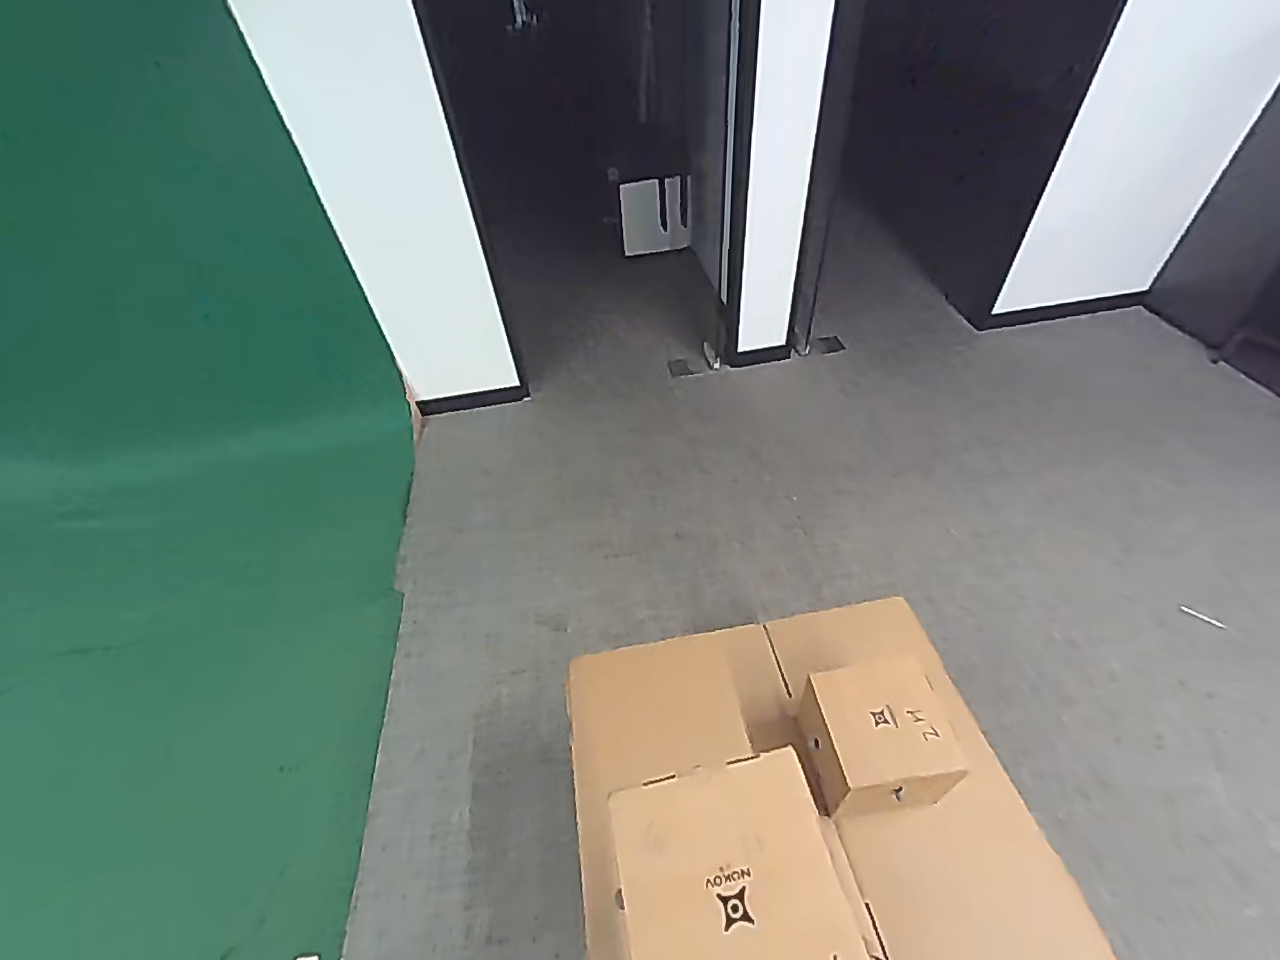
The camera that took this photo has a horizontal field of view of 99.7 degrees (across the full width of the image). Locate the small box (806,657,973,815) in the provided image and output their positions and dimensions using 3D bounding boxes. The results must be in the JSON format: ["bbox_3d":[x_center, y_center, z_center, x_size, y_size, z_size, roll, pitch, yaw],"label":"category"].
[{"bbox_3d":[0.368,0.401,0.841,0.179,0.176,0.168,-9,46,0],"label":"small box"}]

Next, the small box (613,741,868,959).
[{"bbox_3d":[0.077,0.359,0.476,0.168,0.176,0.179,-13,51,-3],"label":"small box"}]
